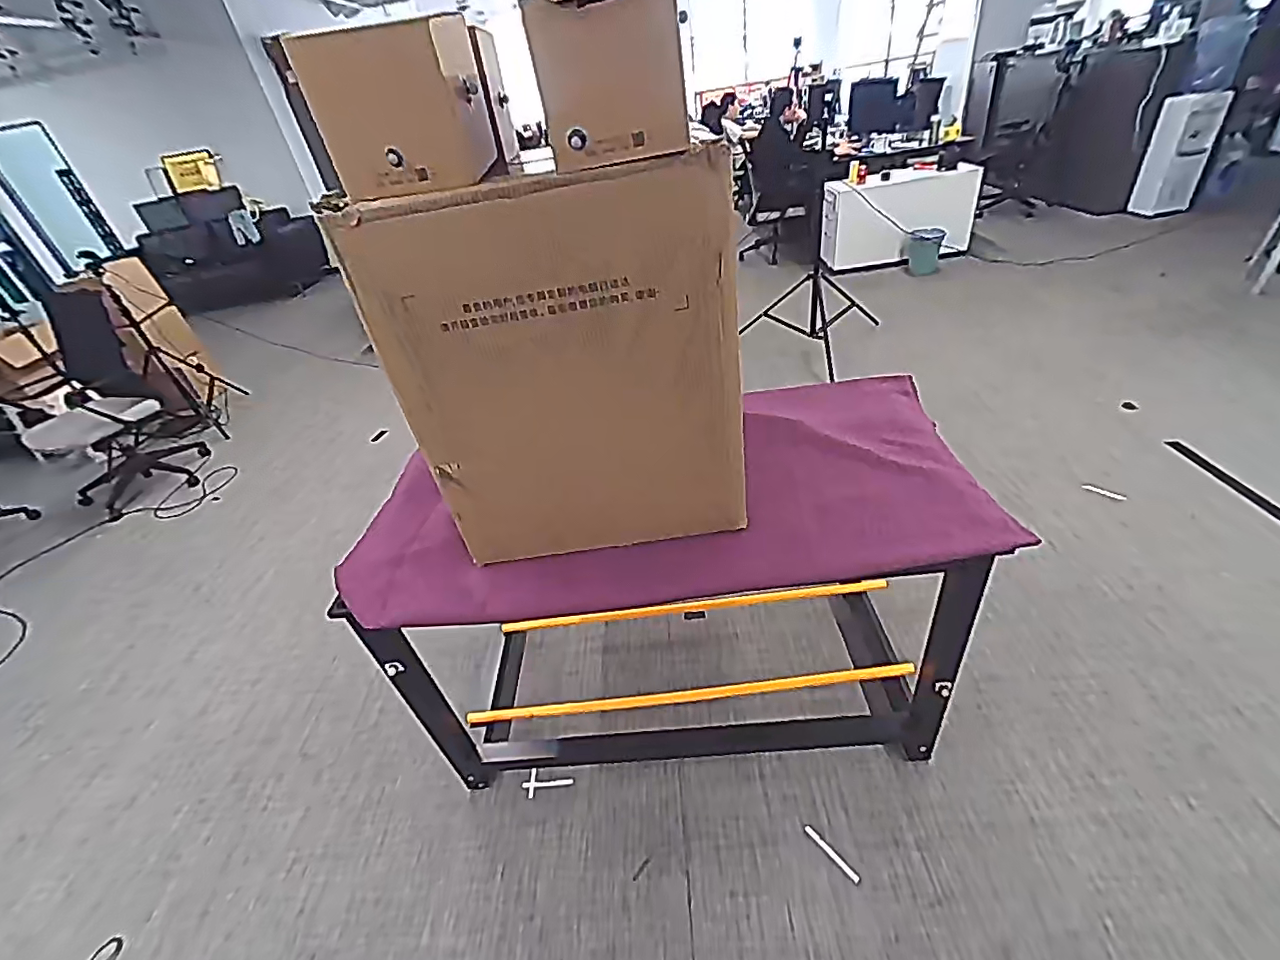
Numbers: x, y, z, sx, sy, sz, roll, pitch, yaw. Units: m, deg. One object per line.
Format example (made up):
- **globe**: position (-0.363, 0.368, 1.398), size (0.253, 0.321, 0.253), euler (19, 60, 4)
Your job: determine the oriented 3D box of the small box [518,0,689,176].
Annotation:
- **small box**: position (-0.035, -0.487, 0.663), size (0.168, 0.176, 0.179), euler (-8, 38, 4)
